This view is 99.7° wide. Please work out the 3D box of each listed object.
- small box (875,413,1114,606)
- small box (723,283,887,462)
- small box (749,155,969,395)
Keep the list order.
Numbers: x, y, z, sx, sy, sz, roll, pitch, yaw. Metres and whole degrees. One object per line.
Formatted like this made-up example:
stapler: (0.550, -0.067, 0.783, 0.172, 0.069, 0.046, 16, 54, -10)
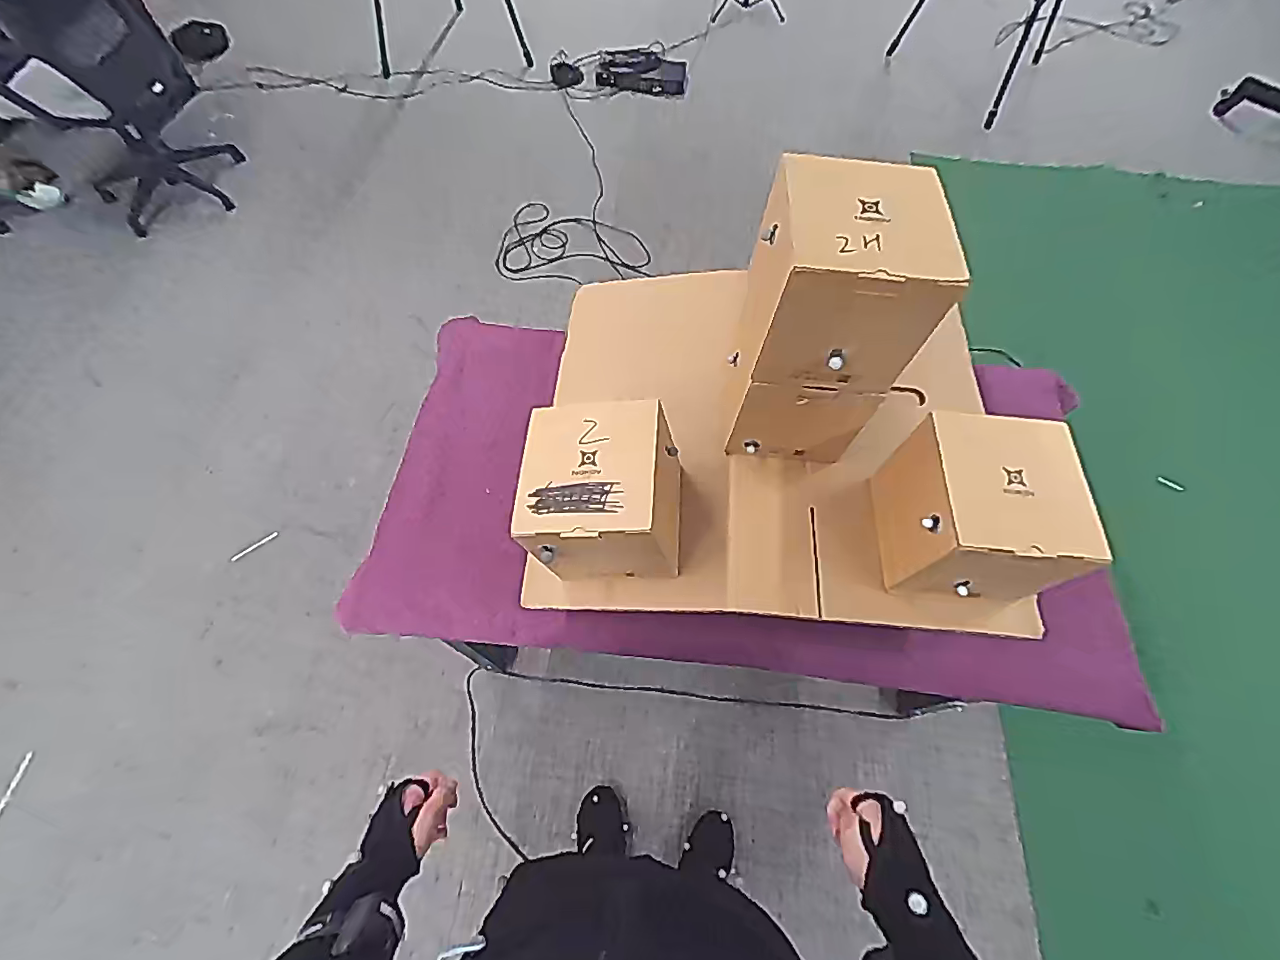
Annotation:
small box: (0.408, 0.042, 0.664, 0.168, 0.176, 0.179, 5, 63, -1)
small box: (0.212, -0.141, 0.744, 0.168, 0.176, 0.179, 5, 61, -1)
small box: (0.221, -0.220, 0.601, 0.168, 0.176, 0.179, 5, 63, -1)
